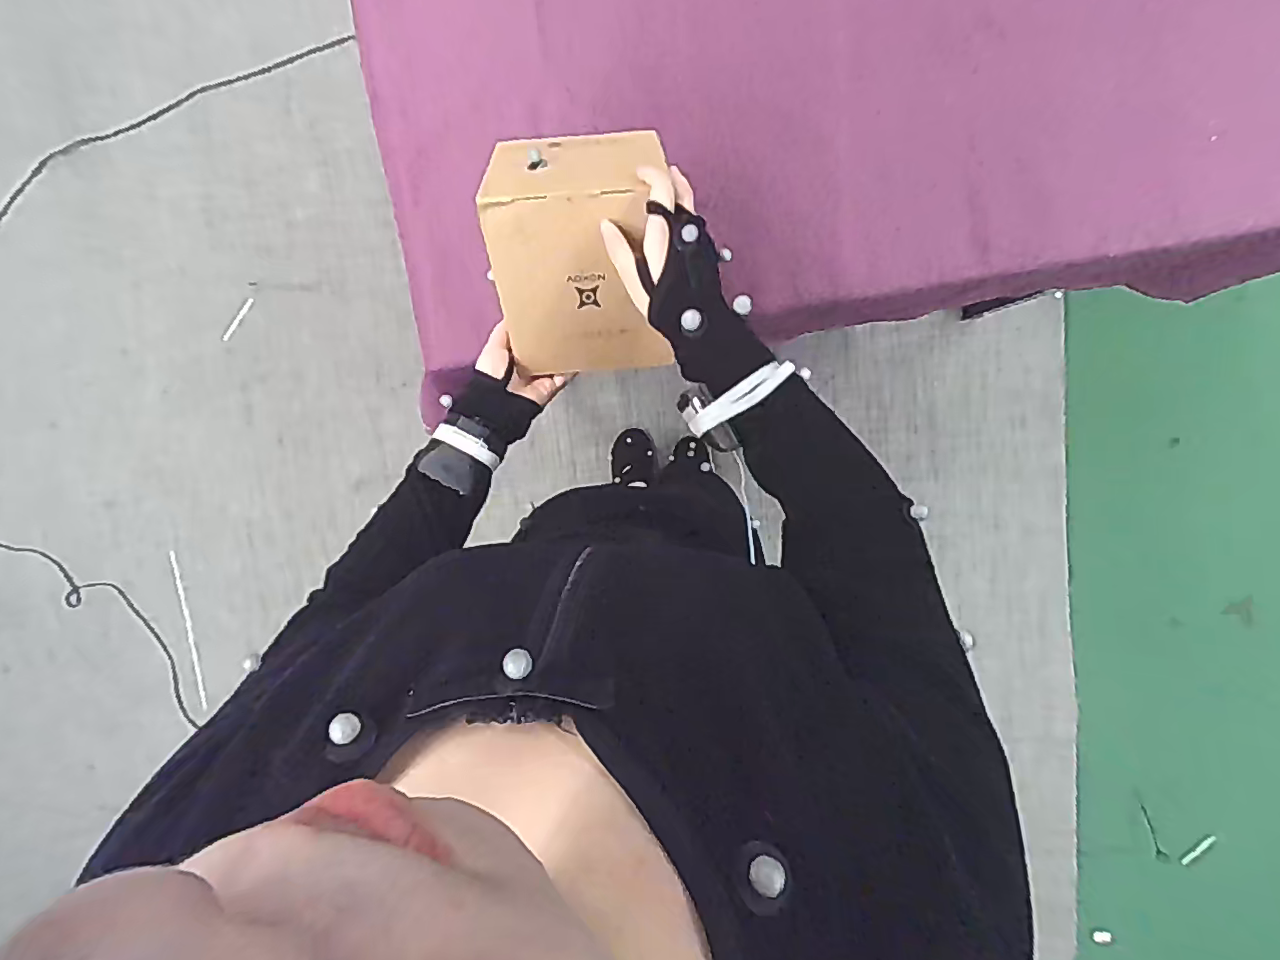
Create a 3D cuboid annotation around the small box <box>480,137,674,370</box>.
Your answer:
[{"bbox_3d":[-0.056,-0.239,0.562,0.168,0.176,0.179,-4,136,0],"label":"small box"}]
